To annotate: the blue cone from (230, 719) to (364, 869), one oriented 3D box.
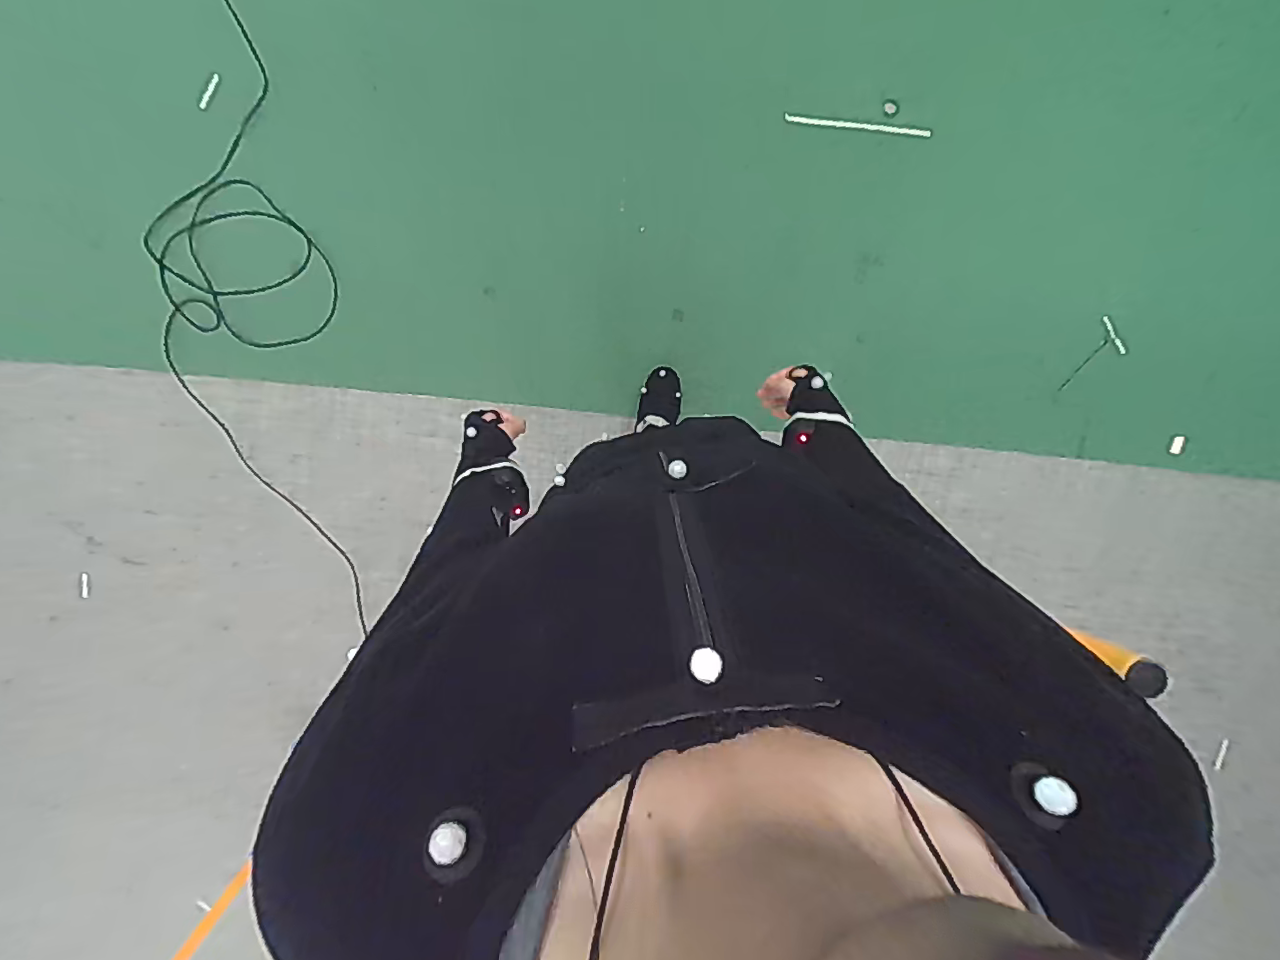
[{"bbox_3d":[-0.922,0.844,1.423,0.193,0.380,0.192,-39,101,7],"label":"blue cone"}]
